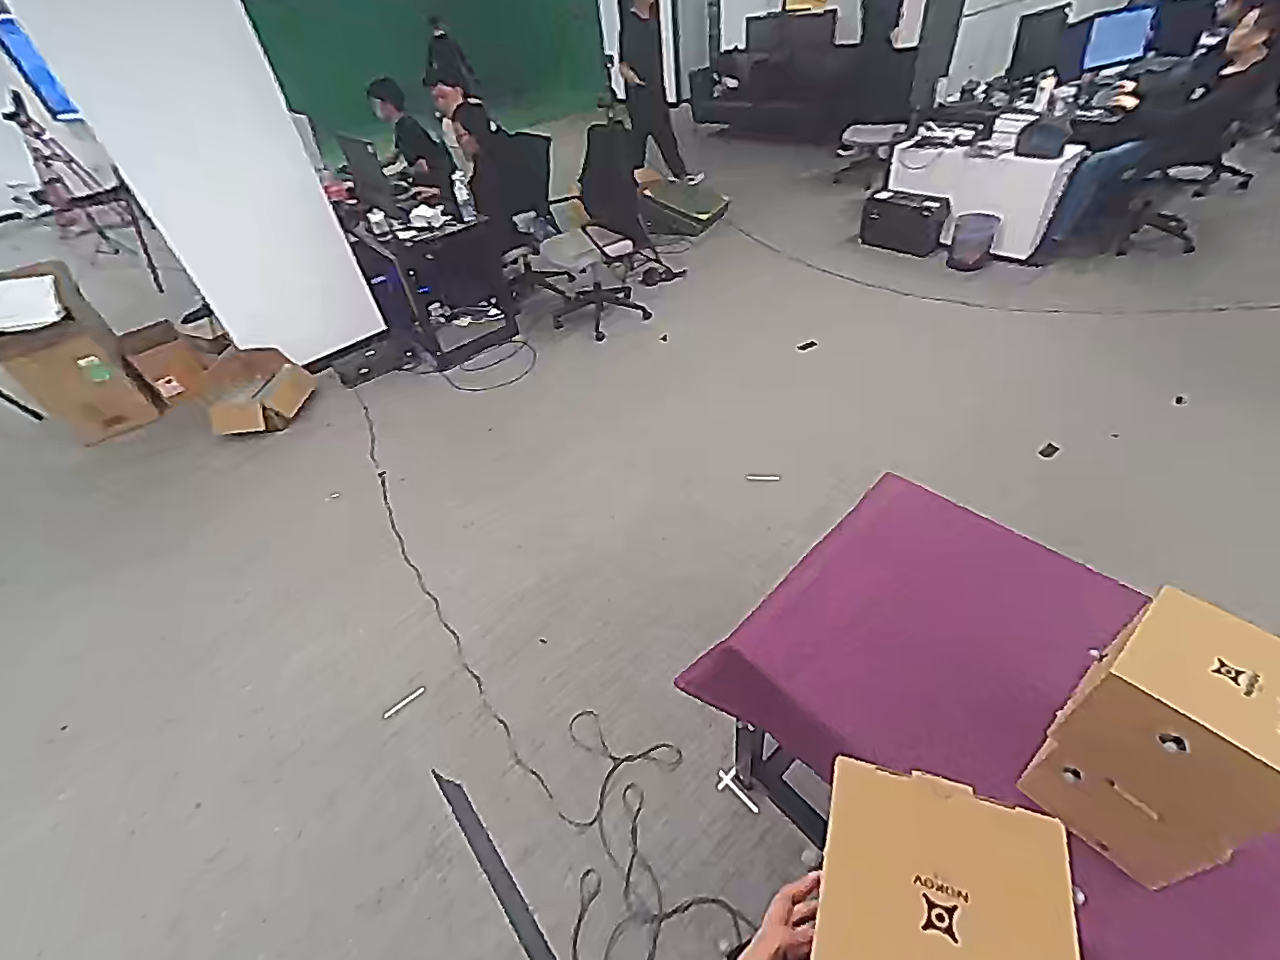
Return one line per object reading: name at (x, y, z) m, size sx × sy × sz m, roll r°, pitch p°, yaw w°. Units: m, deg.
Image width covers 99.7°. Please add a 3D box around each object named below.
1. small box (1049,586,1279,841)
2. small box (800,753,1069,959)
small box at (0.620, 0.264, 0.617) m, size 0.168 × 0.176 × 0.179 m, roll -32°, pitch 48°, yaw -24°
small box at (0.230, 0.367, 0.445) m, size 0.168 × 0.176 × 0.179 m, roll 6°, pitch 46°, yaw 24°
